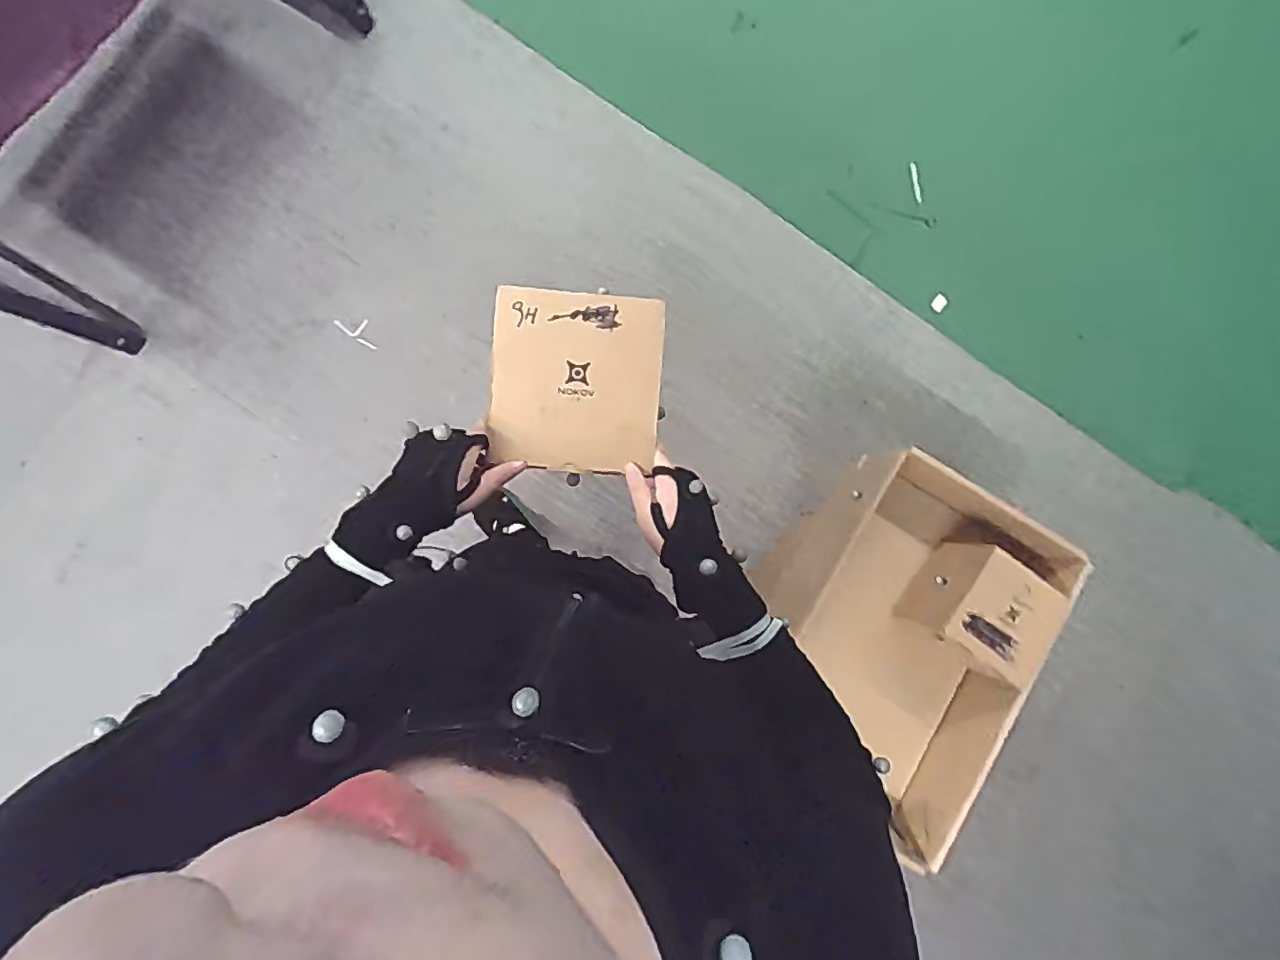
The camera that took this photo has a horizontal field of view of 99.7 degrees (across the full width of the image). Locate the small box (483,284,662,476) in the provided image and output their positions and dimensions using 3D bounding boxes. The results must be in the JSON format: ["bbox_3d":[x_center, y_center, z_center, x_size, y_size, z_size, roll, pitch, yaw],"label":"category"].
[{"bbox_3d":[-0.070,-0.100,0.607,0.168,0.176,0.179,4,92,-4],"label":"small box"}]
